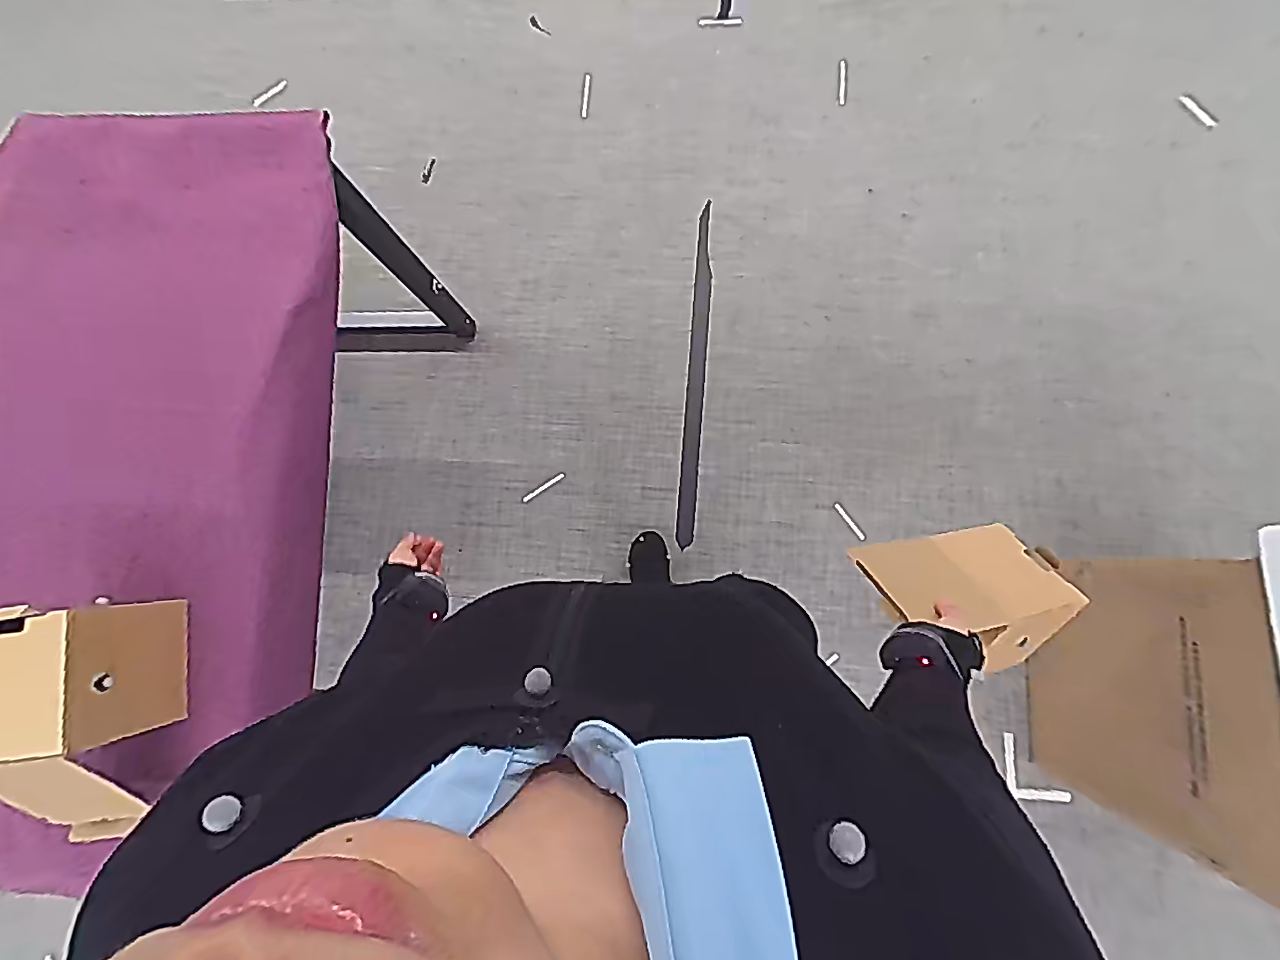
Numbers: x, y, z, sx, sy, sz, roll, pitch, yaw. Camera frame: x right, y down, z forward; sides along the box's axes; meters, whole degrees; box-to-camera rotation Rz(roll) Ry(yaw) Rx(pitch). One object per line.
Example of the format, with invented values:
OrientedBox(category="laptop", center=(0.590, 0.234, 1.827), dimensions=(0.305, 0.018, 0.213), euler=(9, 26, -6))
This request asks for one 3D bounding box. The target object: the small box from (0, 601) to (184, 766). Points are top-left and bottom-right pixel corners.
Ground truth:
OrientedBox(category="small box", center=(-0.766, 0.267, 0.731), dimensions=(0.168, 0.176, 0.179), euler=(-7, 81, 3))
